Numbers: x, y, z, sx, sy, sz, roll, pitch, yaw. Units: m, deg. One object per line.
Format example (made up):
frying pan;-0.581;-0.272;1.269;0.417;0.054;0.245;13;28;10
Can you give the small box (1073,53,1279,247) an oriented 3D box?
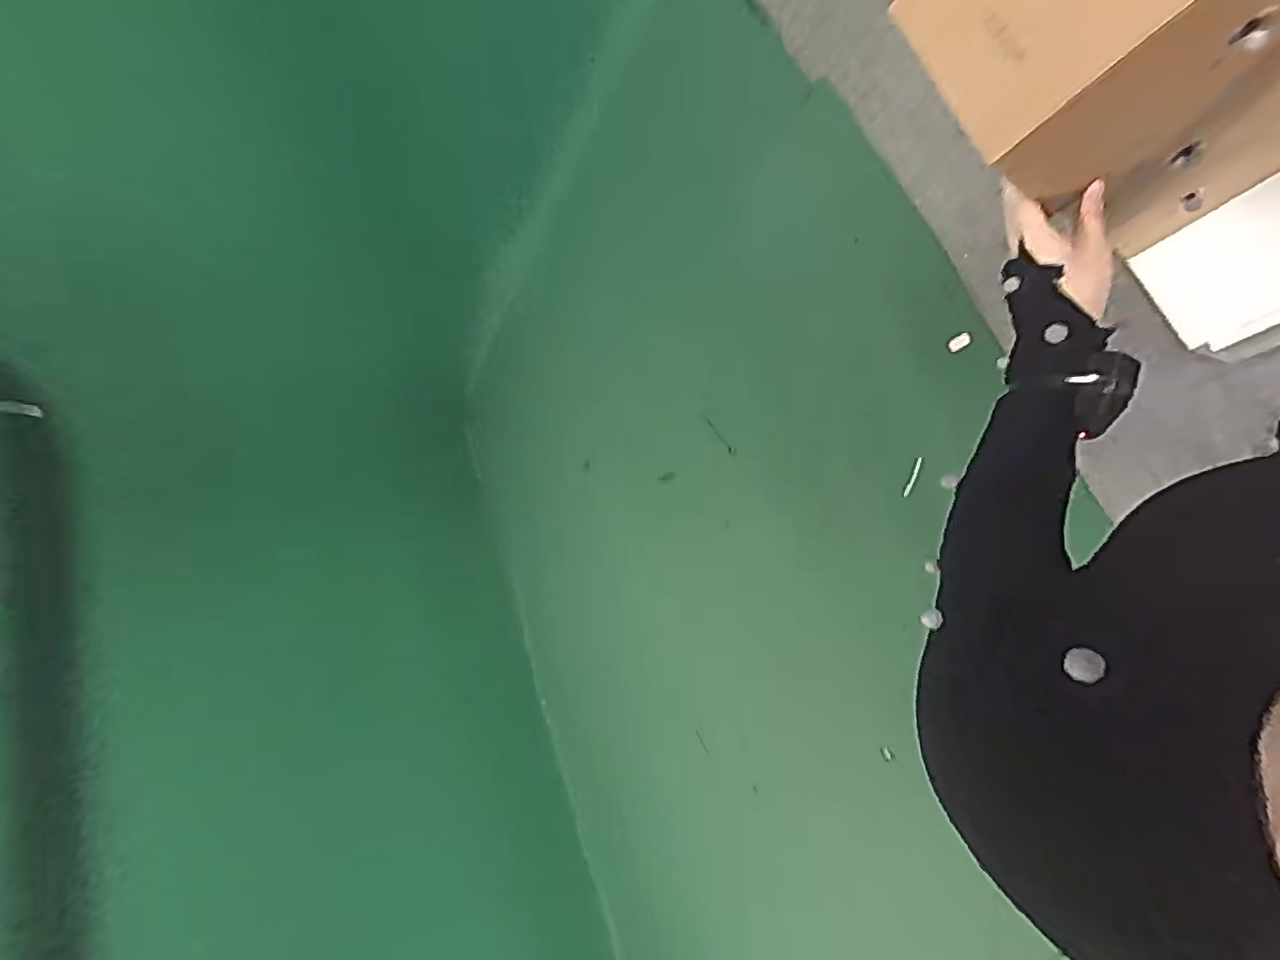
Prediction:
small box;0.585;-0.390;0.603;0.179;0.176;0.168;-38;68;46

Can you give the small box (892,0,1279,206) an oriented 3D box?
small box;0.334;-0.342;0.398;0.179;0.176;0.168;-37;67;48
